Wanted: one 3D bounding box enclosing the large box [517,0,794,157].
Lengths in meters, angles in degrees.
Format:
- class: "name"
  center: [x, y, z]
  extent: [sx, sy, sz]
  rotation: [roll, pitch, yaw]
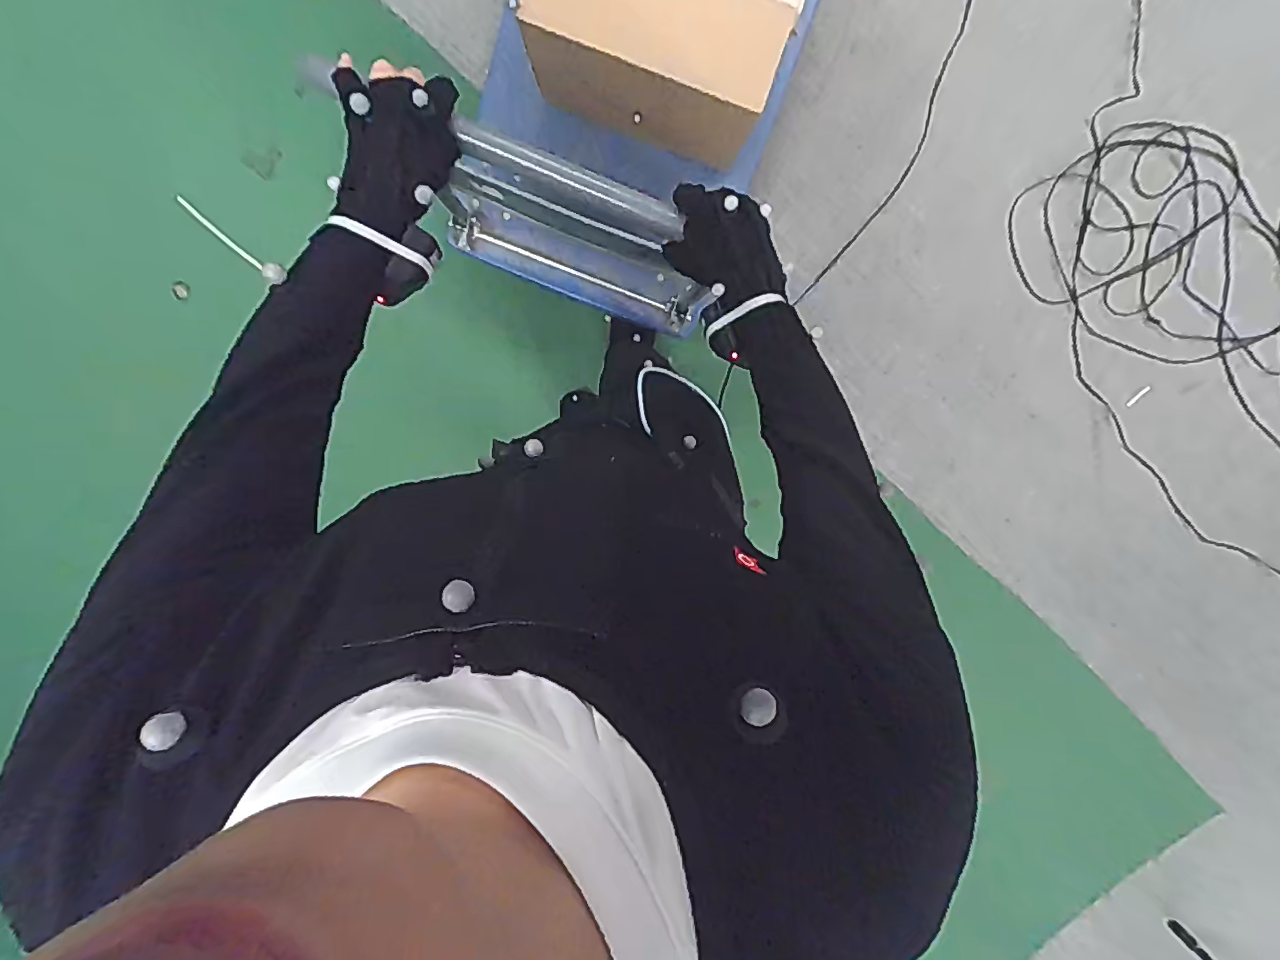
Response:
- class: "large box"
  center: [0.046, -0.829, 0.939]
  extent: [0.408, 0.320, 0.320]
  rotation: [17, 103, -6]
